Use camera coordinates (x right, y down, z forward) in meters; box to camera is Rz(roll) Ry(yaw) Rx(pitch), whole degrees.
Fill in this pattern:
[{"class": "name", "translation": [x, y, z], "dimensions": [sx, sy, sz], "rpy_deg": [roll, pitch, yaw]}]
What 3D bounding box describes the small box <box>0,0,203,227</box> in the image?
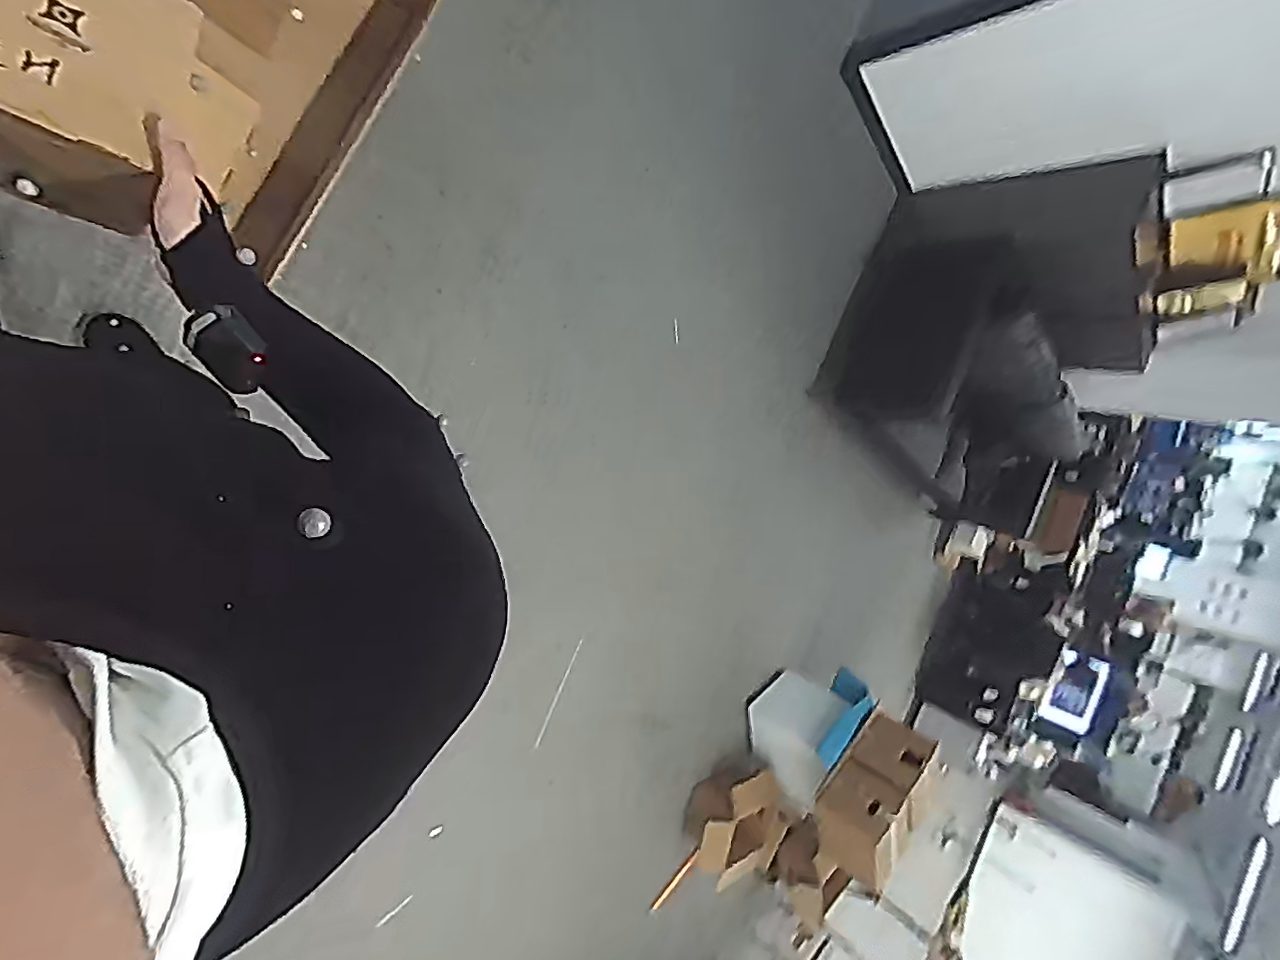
[{"class": "small box", "translation": [-0.521, -0.362, 0.475], "dimensions": [0.168, 0.176, 0.179], "rpy_deg": [11, 80, -50]}]
